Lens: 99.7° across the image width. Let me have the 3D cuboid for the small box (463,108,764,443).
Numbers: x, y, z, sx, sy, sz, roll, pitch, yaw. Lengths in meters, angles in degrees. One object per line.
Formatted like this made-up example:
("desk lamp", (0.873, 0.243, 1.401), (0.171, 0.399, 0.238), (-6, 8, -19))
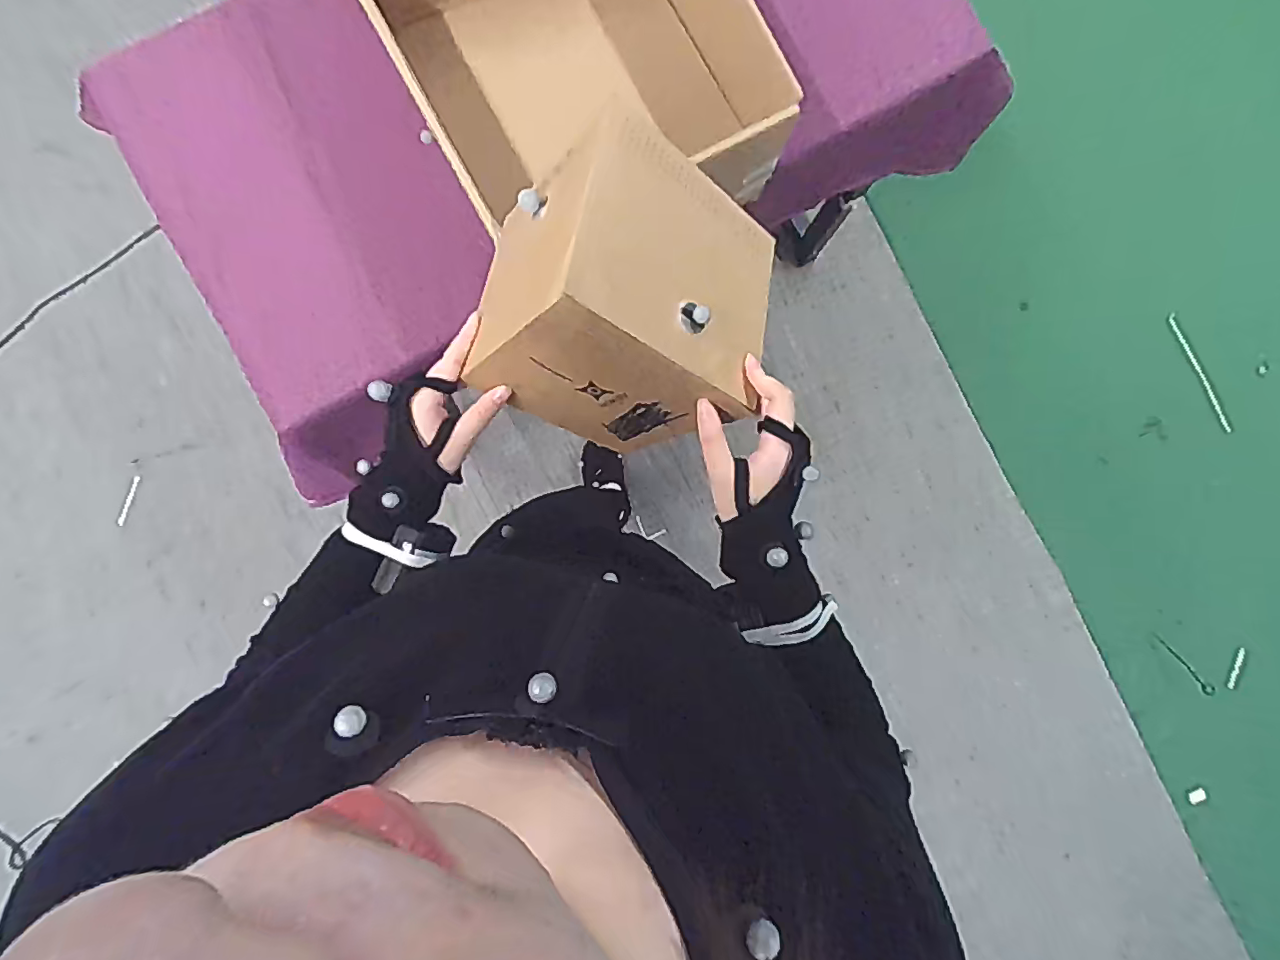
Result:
("small box", (-0.016, -0.150, 0.451), (0.179, 0.168, 0.176), (23, 68, -32))
